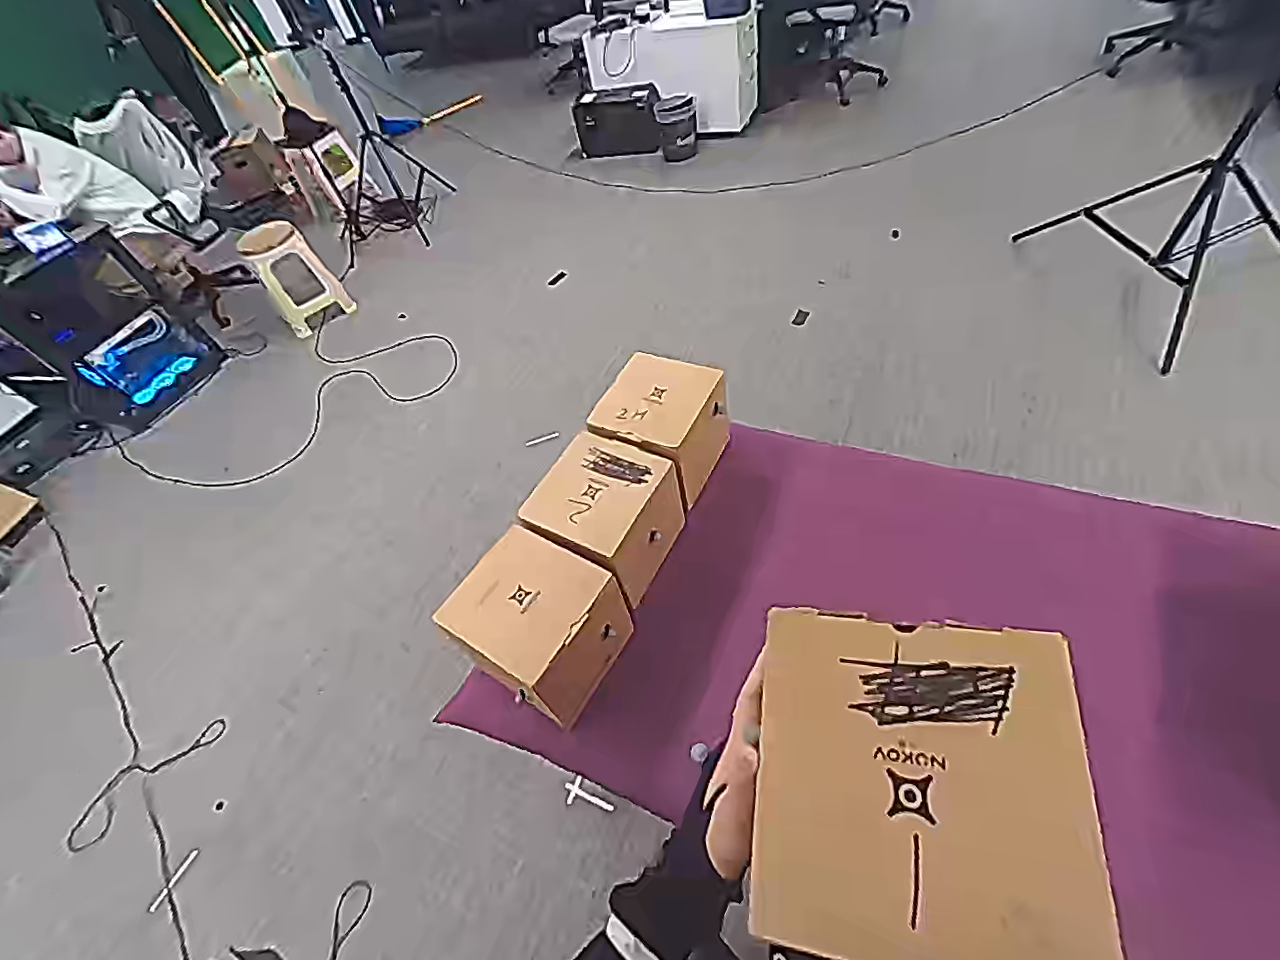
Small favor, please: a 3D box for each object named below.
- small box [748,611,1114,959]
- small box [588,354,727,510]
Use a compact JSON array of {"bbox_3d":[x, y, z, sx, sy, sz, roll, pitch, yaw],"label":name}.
[{"bbox_3d":[0.171,0.203,0.363,0.168,0.176,0.179,1,62,20],"label":"small box"},{"bbox_3d":[0.039,-0.080,0.918,0.168,0.176,0.179,19,59,25],"label":"small box"}]
